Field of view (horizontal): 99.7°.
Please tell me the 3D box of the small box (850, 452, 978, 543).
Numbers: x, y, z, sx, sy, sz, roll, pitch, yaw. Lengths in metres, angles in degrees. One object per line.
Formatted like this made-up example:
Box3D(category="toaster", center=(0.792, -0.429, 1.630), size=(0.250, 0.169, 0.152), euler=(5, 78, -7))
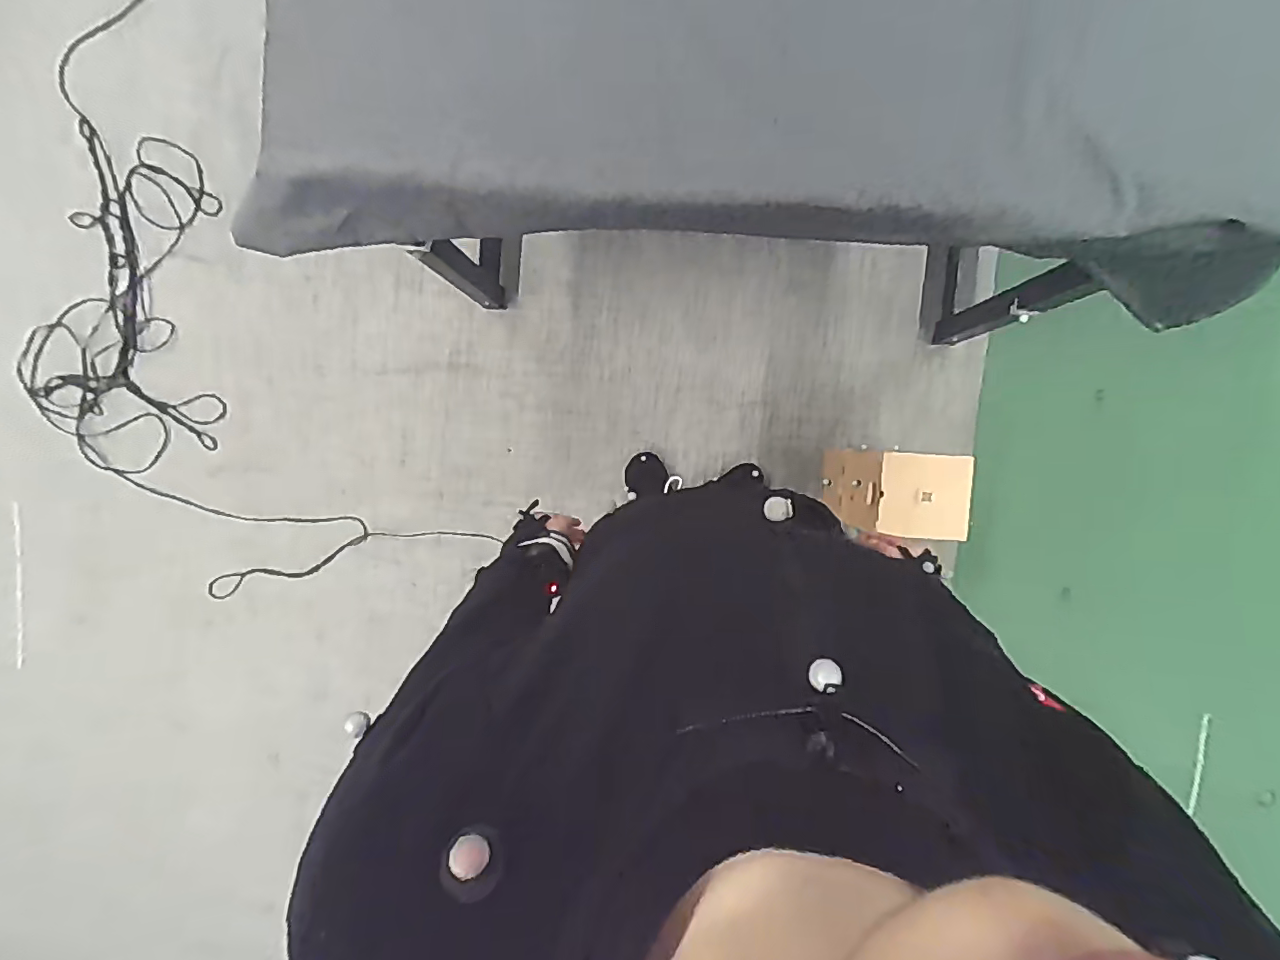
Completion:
Box3D(category="small box", center=(0.552, 0.029, 1.107), size=(0.179, 0.176, 0.168), euler=(3, 93, 3))
